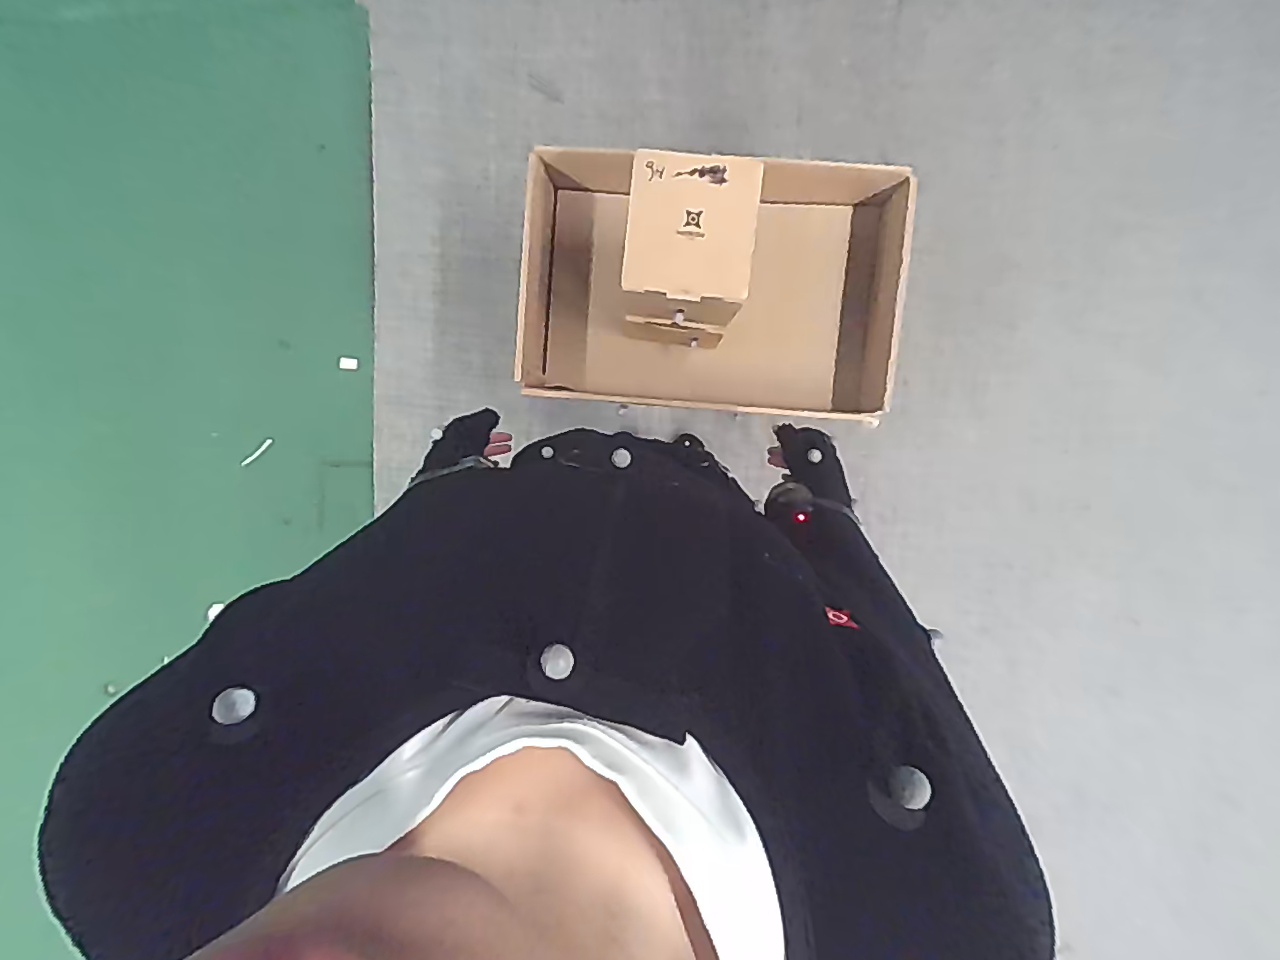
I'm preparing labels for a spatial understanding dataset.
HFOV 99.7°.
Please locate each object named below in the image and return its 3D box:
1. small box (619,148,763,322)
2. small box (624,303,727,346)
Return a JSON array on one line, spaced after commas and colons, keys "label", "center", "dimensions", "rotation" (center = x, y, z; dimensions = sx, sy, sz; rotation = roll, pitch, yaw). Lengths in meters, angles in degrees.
[{"label": "small box", "center": [0.066, -0.330, 0.764], "dimensions": [0.168, 0.176, 0.179], "rotation": [7, 97, 0]}, {"label": "small box", "center": [0.068, -0.335, 0.929], "dimensions": [0.168, 0.176, 0.179], "rotation": [7, 94, 0]}]
